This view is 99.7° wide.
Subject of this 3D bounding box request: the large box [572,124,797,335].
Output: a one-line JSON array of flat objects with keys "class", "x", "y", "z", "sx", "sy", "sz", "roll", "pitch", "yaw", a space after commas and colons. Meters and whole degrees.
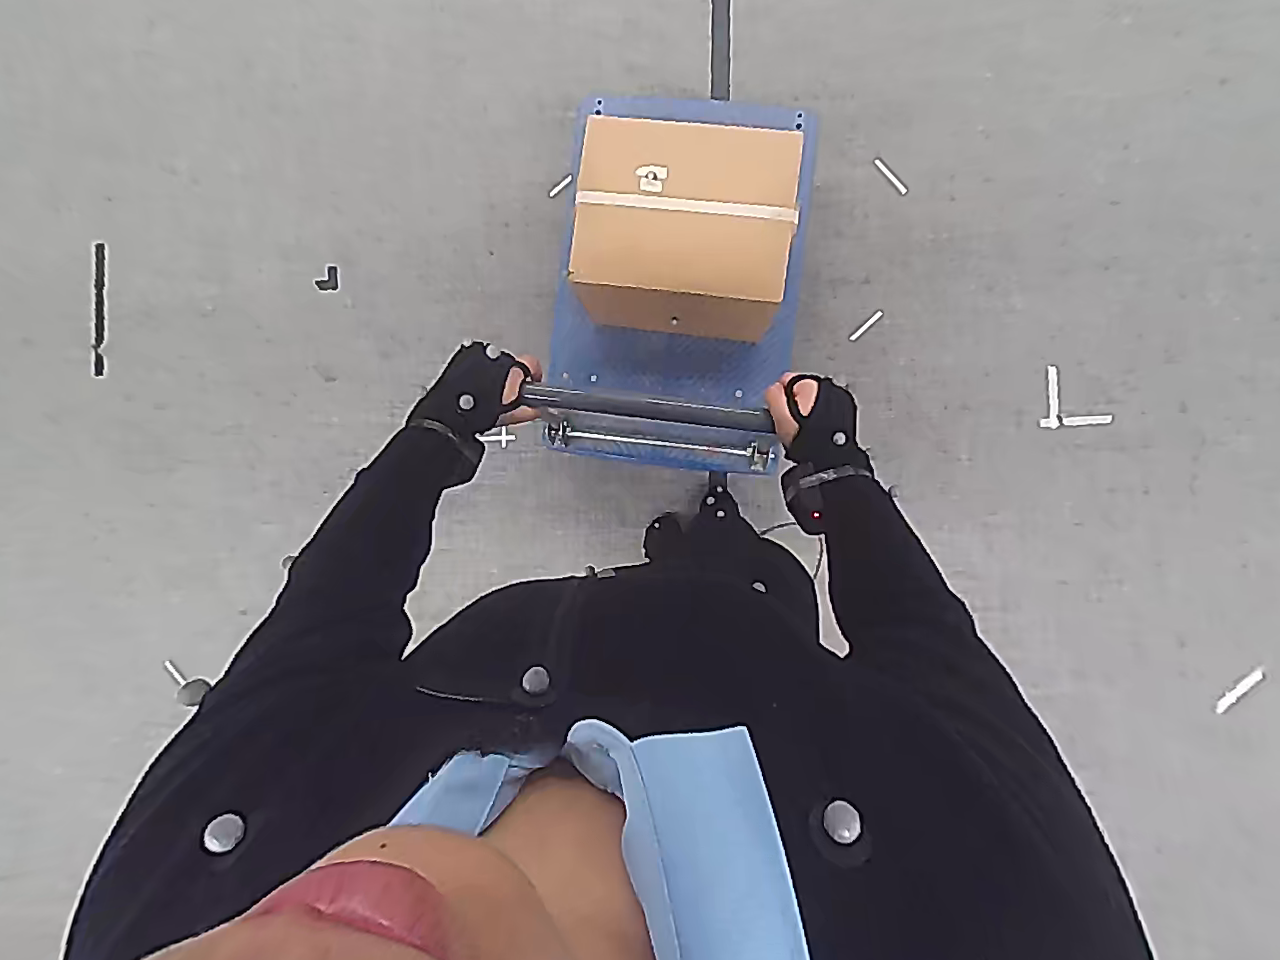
[{"class": "large box", "x": 0.097, "y": -0.514, "z": 1.169, "sx": 0.408, "sy": 0.320, "sz": 0.320, "roll": 7, "pitch": 91, "yaw": 6}]
